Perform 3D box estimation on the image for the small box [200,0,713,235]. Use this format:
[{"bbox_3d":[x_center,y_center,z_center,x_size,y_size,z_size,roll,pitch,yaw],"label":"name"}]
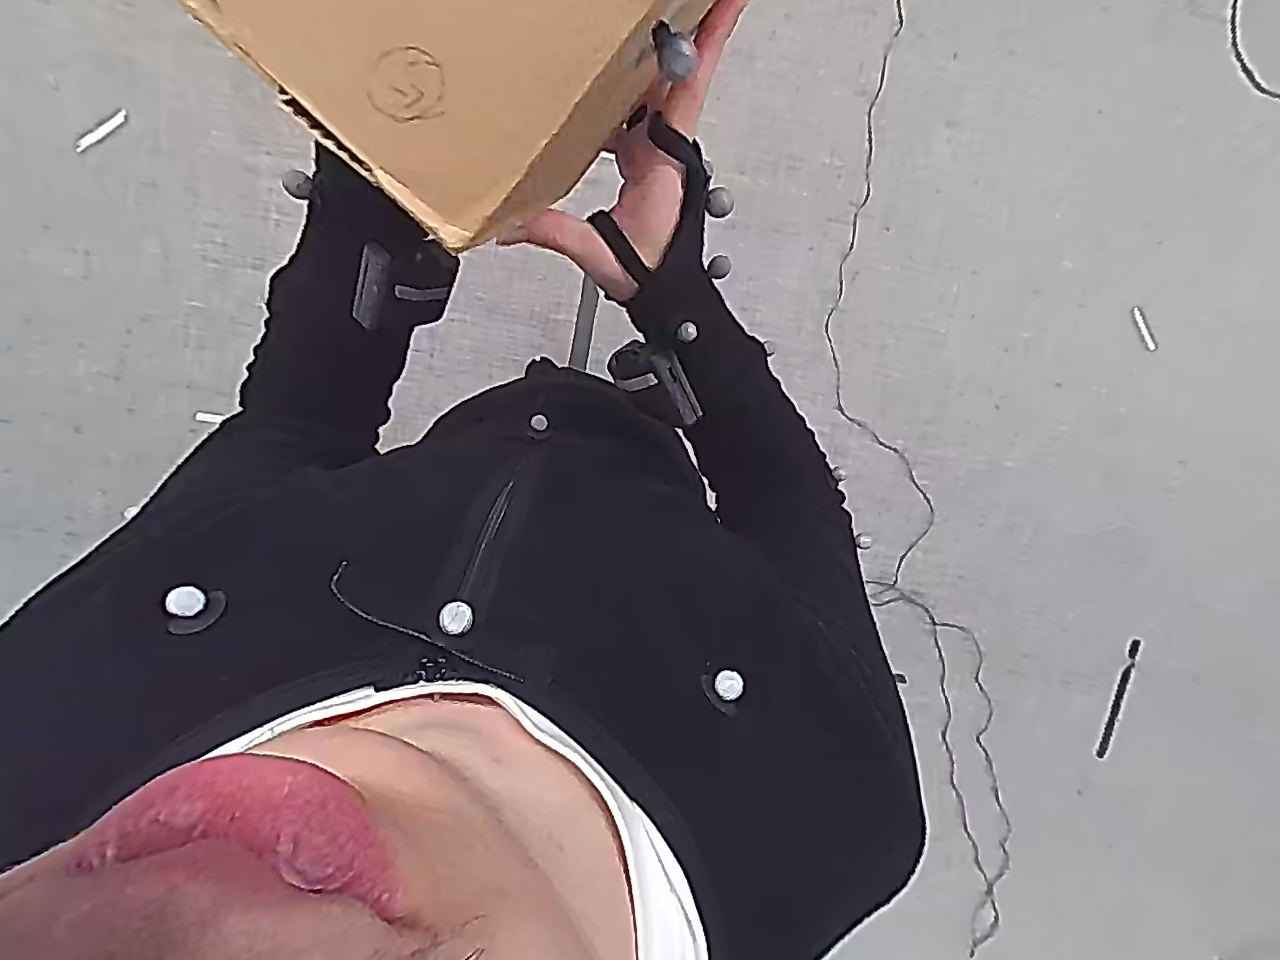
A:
[{"bbox_3d":[-0.049,-0.219,0.178,0.168,0.176,0.179,41,117,-21],"label":"small box"}]
